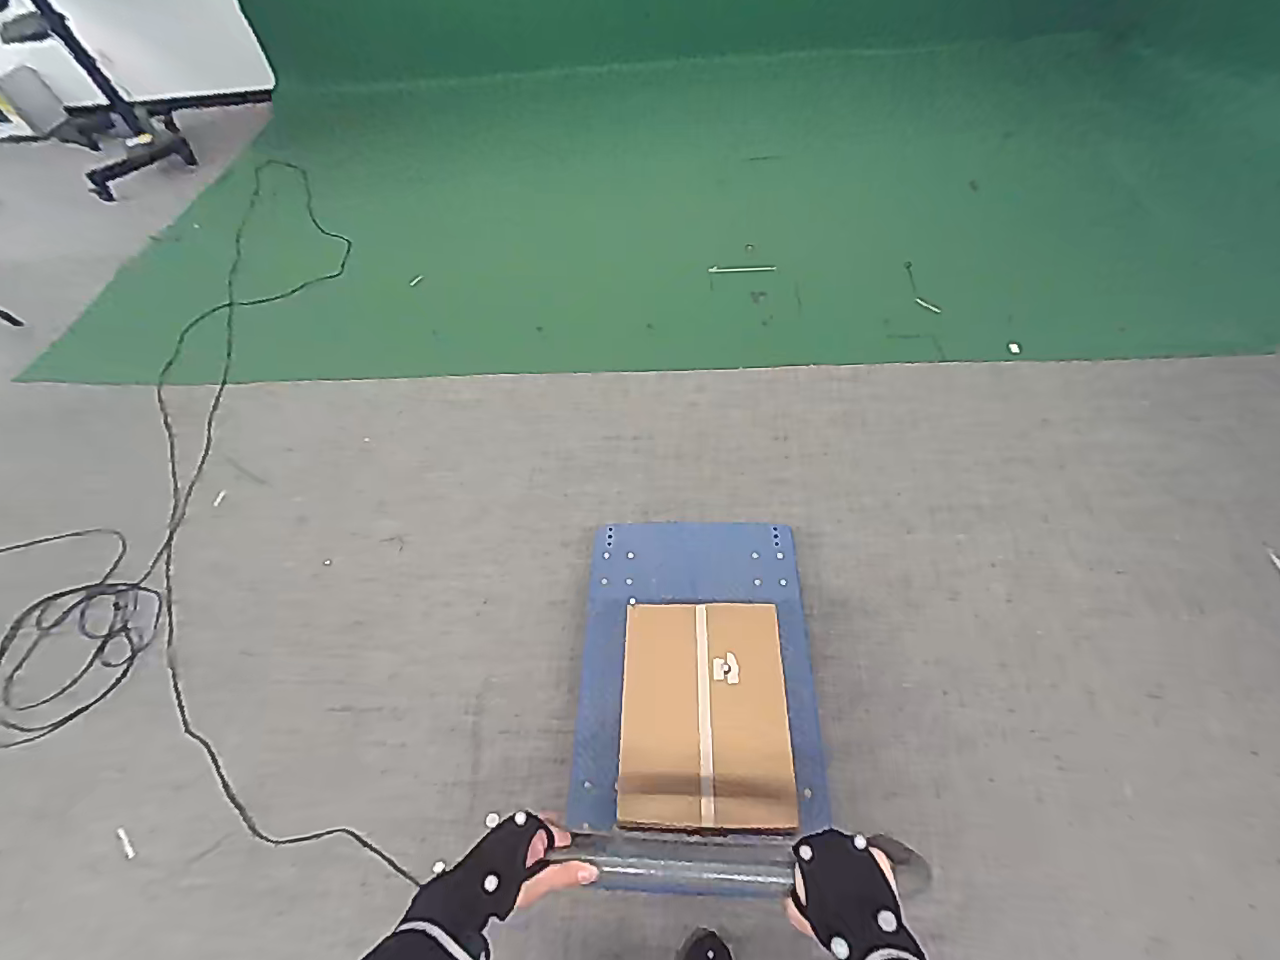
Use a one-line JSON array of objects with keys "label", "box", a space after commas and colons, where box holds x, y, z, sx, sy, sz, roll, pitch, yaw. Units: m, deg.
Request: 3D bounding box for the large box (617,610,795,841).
[{"label": "large box", "box": [0.131, 0.529, 1.161, 0.320, 0.320, 0.408, -1, 54, 5]}]
